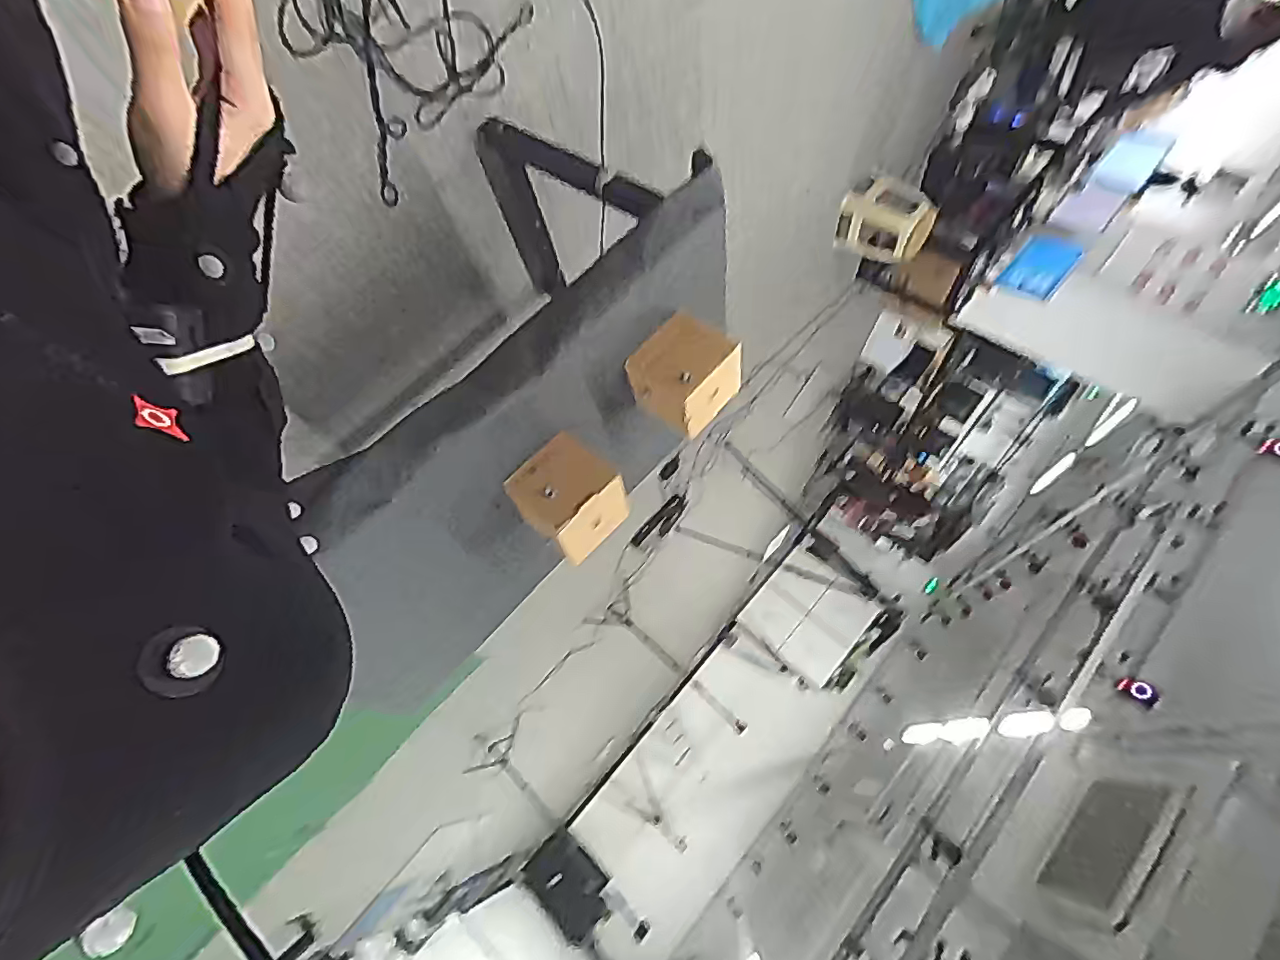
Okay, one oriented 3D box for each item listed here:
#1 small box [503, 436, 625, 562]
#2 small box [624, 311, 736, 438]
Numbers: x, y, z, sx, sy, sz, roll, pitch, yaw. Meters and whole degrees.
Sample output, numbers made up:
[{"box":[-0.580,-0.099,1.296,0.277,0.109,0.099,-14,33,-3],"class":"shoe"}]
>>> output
[{"box":[-0.155,0.033,1.115,0.168,0.176,0.179,-43,156,-17],"class":"small box"},{"box":[0.090,-0.233,1.182,0.179,0.176,0.168,-46,156,-12],"class":"small box"}]
